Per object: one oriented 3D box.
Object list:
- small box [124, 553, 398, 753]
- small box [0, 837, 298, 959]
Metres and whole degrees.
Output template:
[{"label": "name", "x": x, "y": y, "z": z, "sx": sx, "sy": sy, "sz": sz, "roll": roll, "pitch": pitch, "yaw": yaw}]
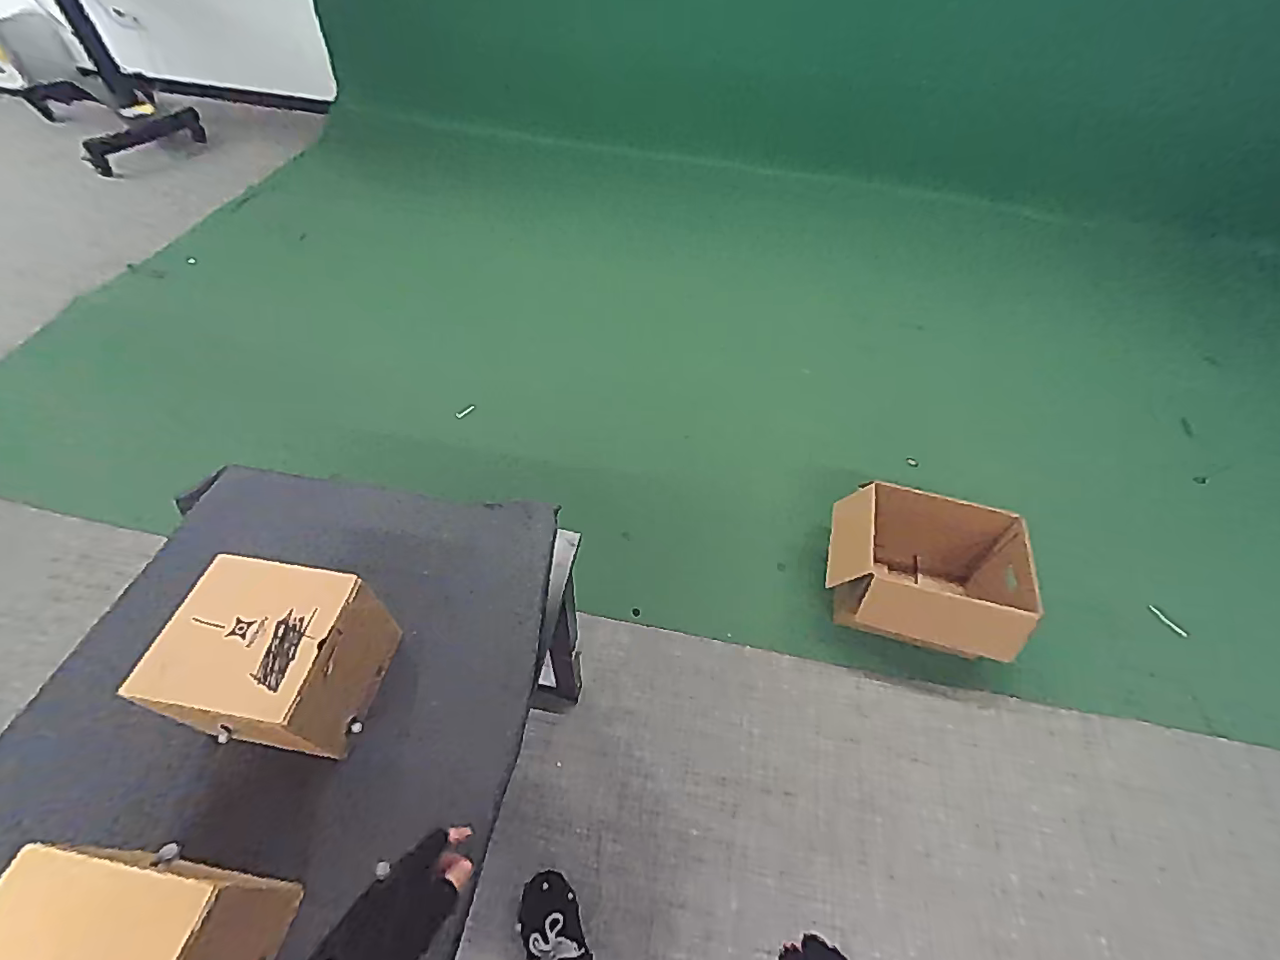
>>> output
[{"label": "small box", "x": -0.420, "y": 0.211, "z": 0.643, "sx": 0.179, "sy": 0.176, "sz": 0.168, "roll": 9, "pitch": 52, "yaw": 4}, {"label": "small box", "x": -0.451, "y": 0.433, "z": 0.470, "sx": 0.179, "sy": 0.176, "sz": 0.168, "roll": 10, "pitch": 51, "yaw": 3}]
